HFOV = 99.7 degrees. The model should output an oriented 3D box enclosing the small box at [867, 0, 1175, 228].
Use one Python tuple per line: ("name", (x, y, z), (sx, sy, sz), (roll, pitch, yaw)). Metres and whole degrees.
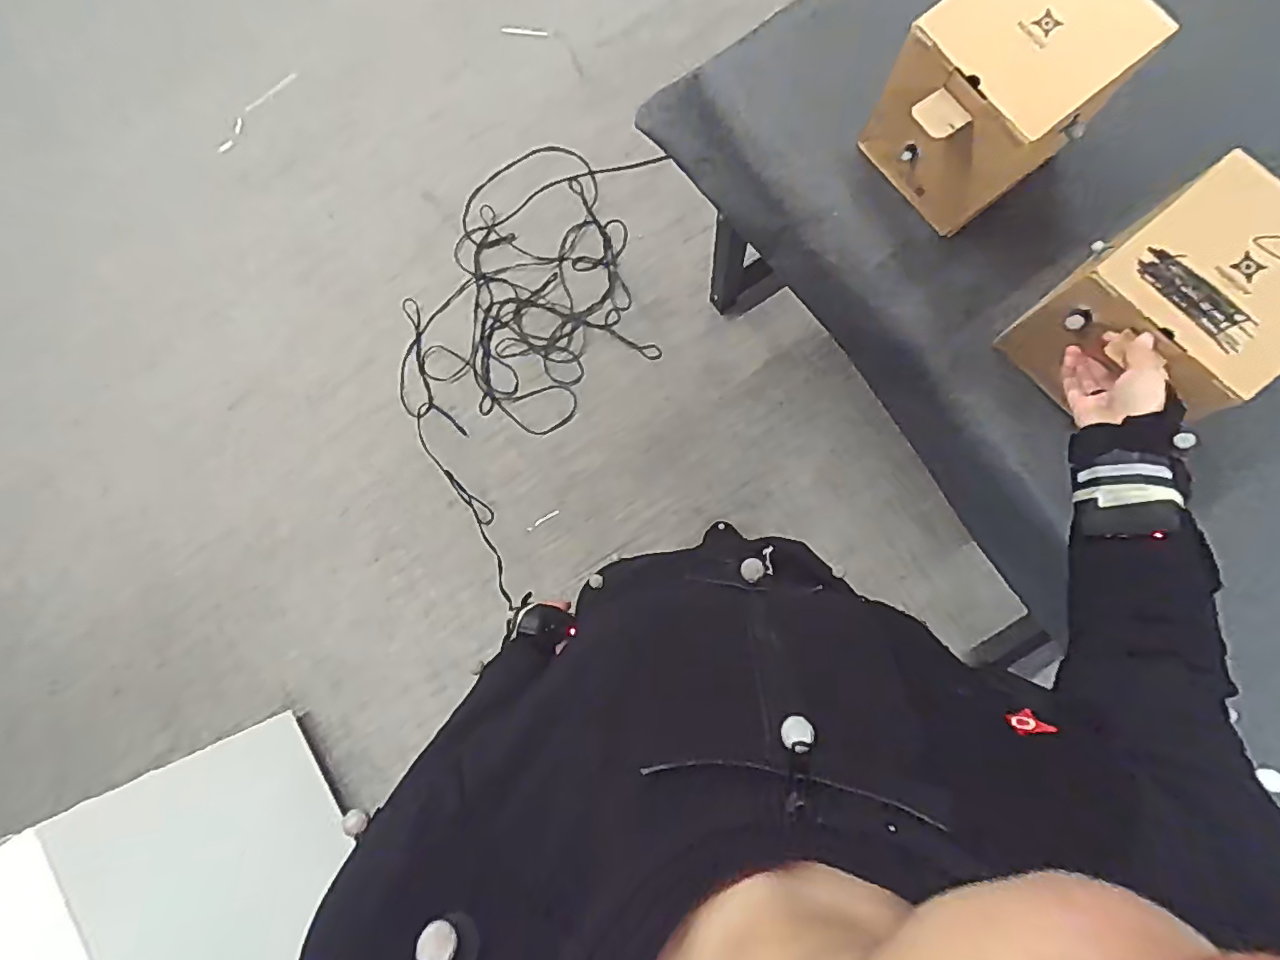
("small box", (0.386, -0.422, 0.587), (0.179, 0.176, 0.168), (-38, 83, 1))
